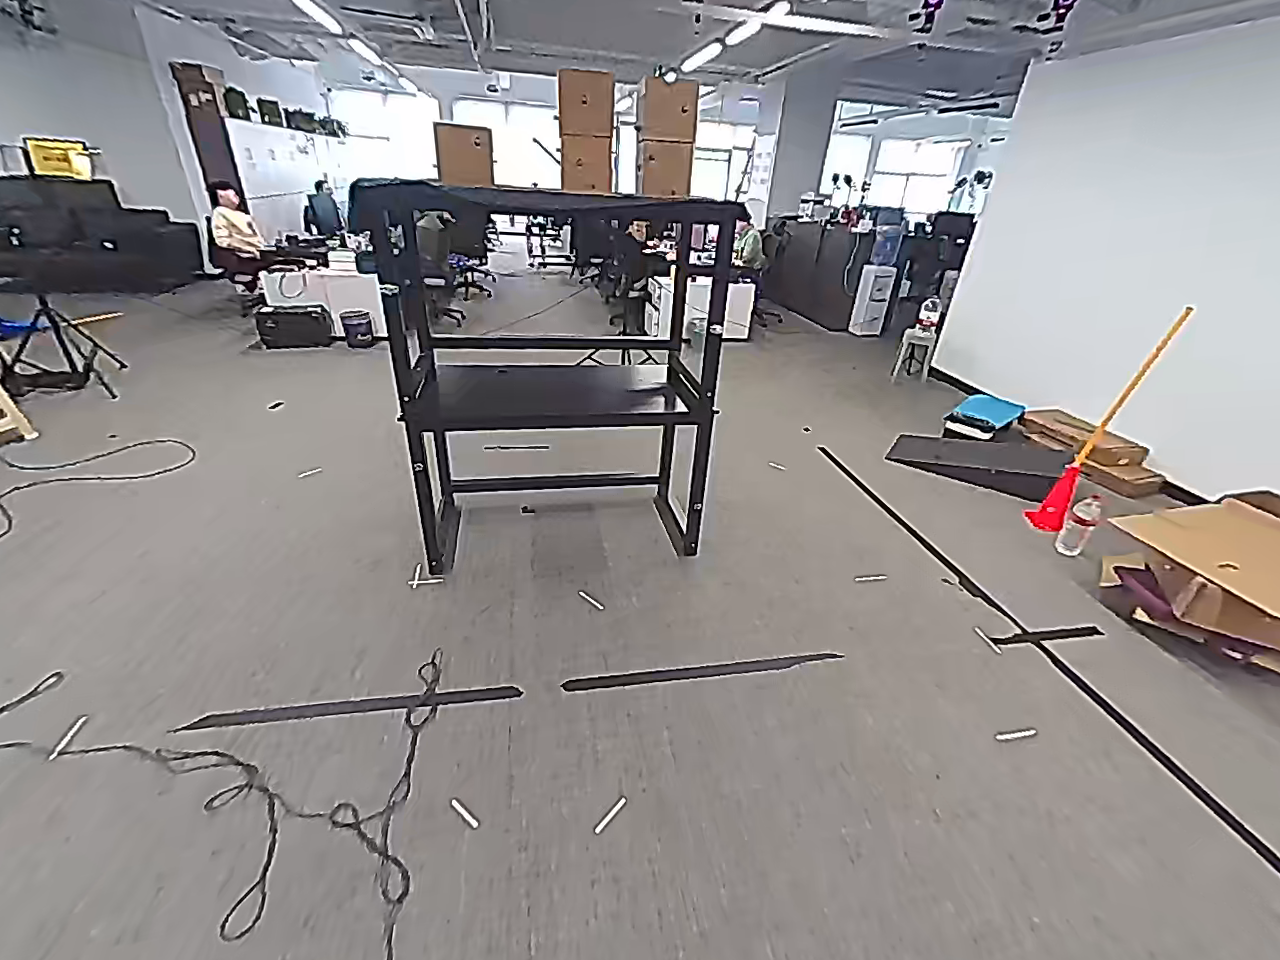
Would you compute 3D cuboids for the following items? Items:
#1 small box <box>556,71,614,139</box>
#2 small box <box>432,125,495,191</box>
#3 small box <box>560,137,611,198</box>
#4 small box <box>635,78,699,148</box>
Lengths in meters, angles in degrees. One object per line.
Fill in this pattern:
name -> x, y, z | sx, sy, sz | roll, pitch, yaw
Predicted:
small box -> -0.176, -1.186, 1.728 | 0.179, 0.176, 0.168 | -3, 27, -7
small box -> -0.555, -1.017, 1.719 | 0.179, 0.176, 0.168 | -5, 28, -15
small box -> -0.184, -1.045, 1.814 | 0.168, 0.176, 0.179 | -1, 28, -8
small box -> 0.082, -1.191, 1.764 | 0.179, 0.176, 0.168 | -4, 27, -9
